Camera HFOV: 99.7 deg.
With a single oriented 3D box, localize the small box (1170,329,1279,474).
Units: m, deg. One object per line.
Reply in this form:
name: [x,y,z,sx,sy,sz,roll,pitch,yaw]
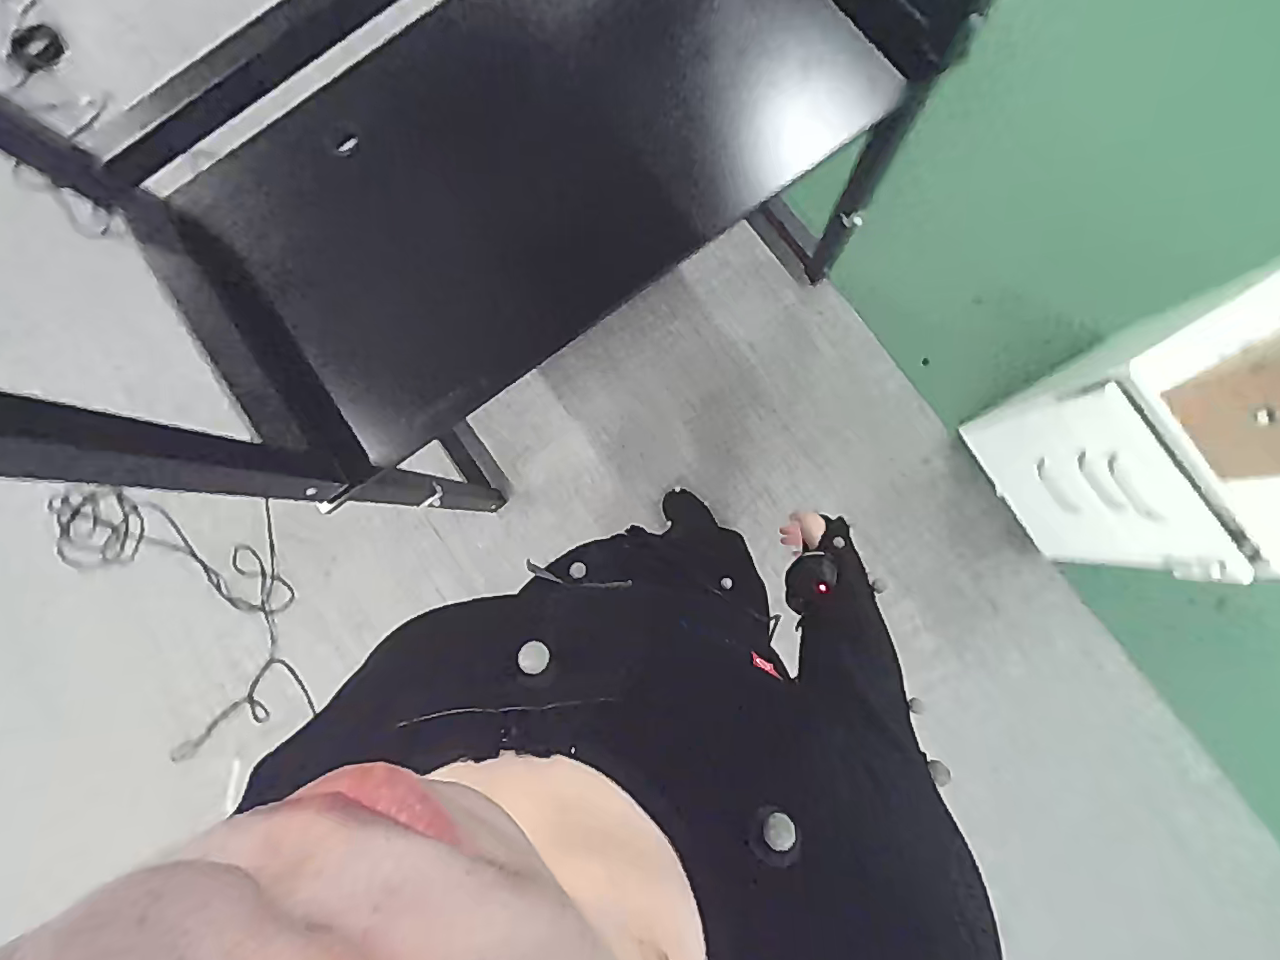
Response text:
small box: [0.940,-0.123,0.773,0.168,0.176,0.179,-29,84,1]
